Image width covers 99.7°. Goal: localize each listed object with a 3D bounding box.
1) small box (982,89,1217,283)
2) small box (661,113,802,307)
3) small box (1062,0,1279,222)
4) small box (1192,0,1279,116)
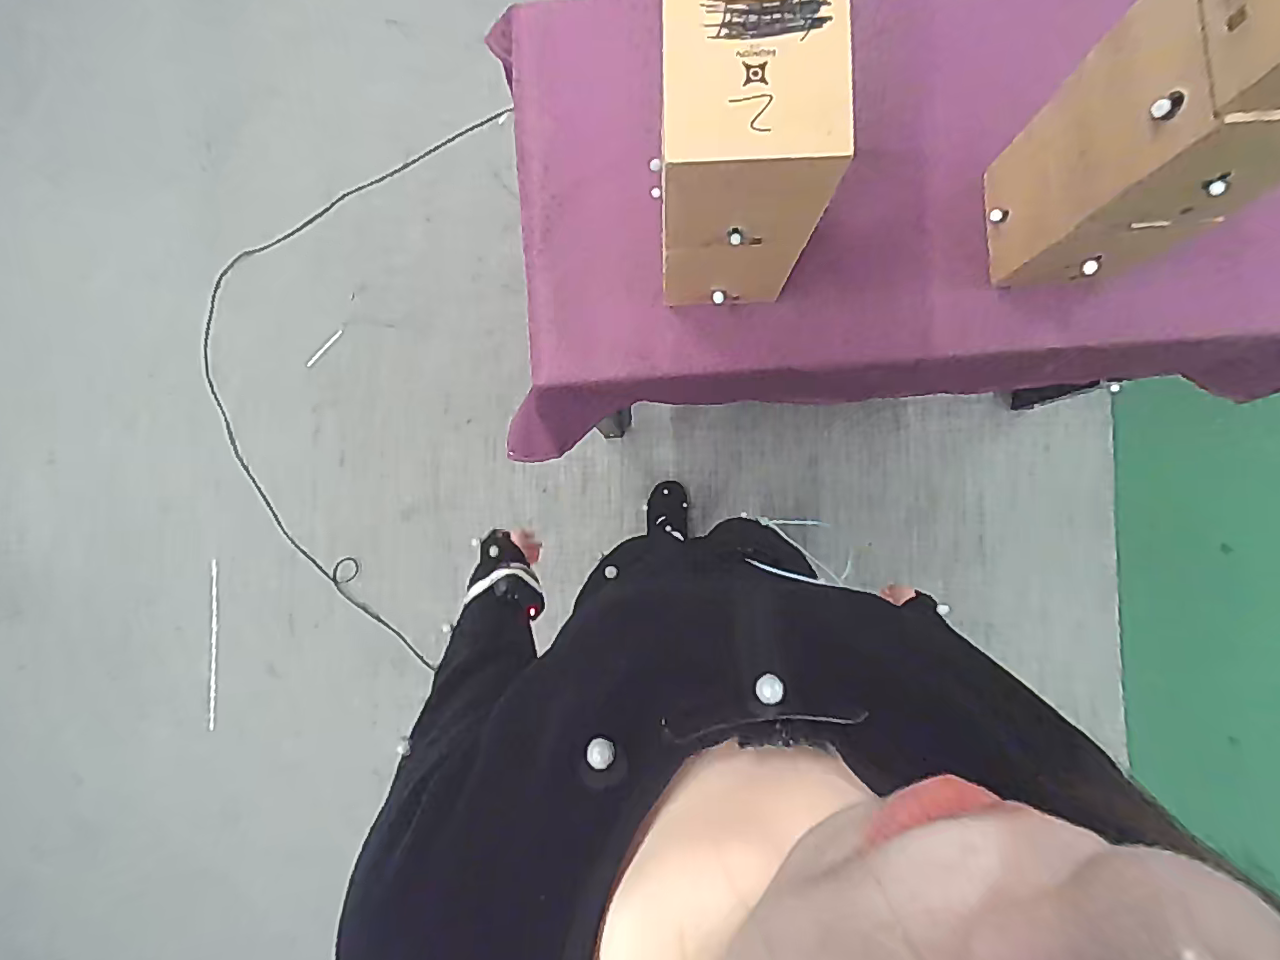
[{"bbox_3d":[0.578,-0.369,0.703,0.168,0.176,0.179,-2,87,2],"label":"small box"},{"bbox_3d":[0.112,-0.348,0.723,0.168,0.176,0.179,-1,88,3],"label":"small box"},{"bbox_3d":[0.566,-0.378,0.538,0.168,0.176,0.179,-2,86,2],"label":"small box"},{"bbox_3d":[0.554,-0.392,0.376,0.179,0.176,0.168,-3,85,3],"label":"small box"}]
